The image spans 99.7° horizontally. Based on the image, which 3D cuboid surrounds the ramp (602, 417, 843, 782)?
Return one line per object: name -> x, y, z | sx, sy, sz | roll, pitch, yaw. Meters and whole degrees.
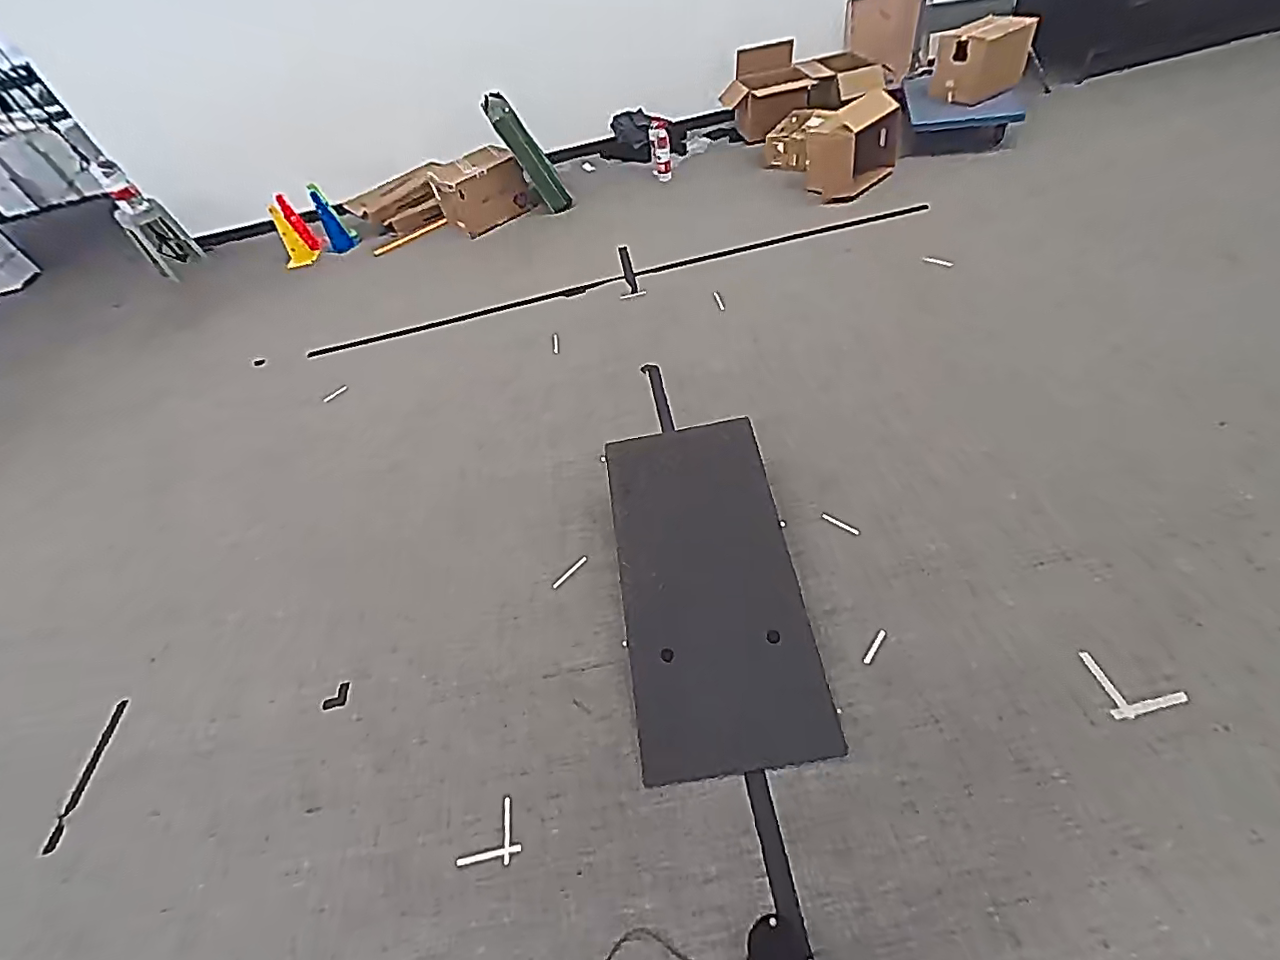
ramp -> 0.181, 0.263, 1.542 | 0.509, 0.206, 0.991 | -12, 49, 1
